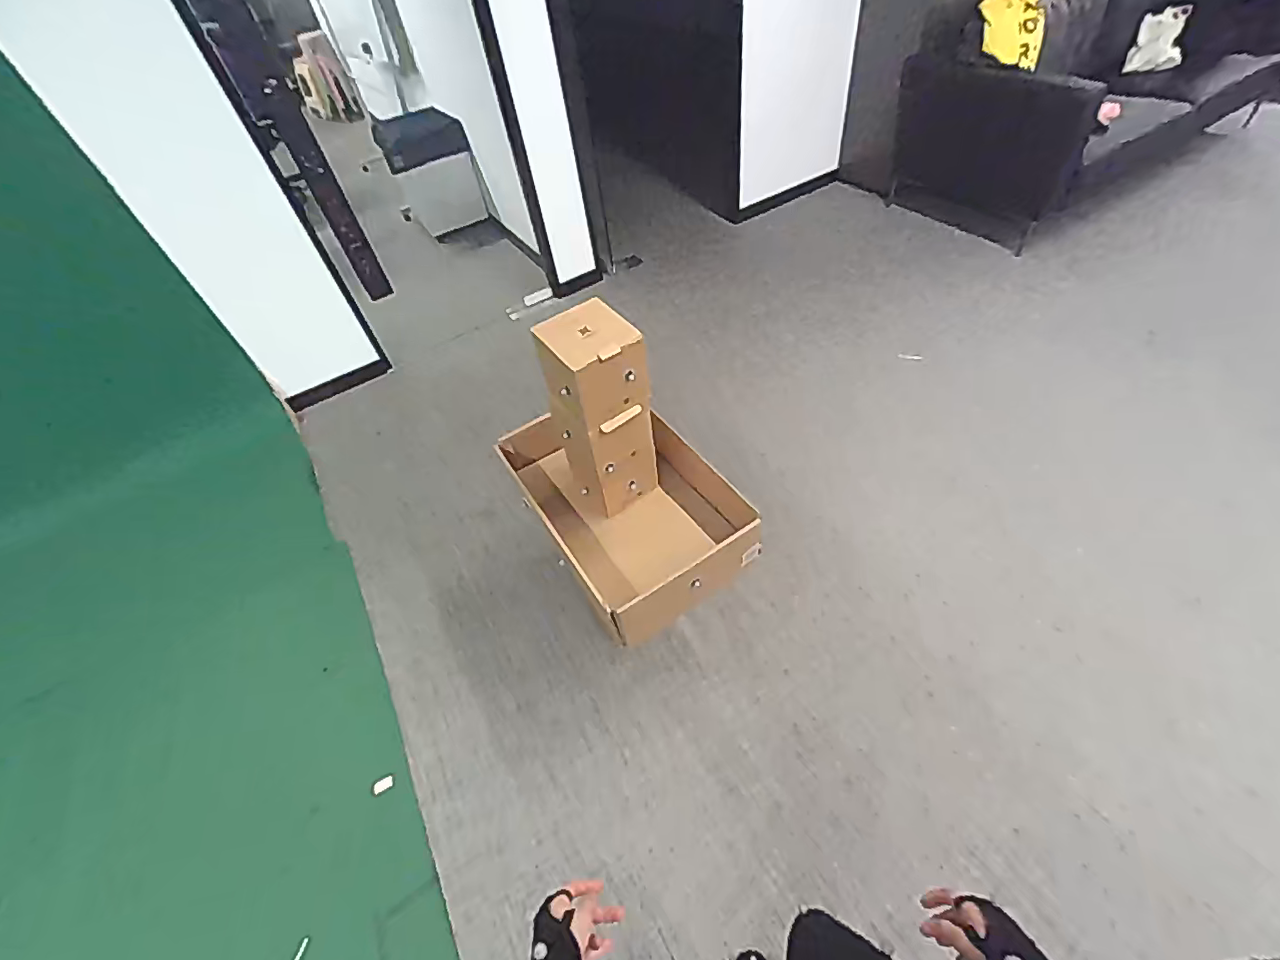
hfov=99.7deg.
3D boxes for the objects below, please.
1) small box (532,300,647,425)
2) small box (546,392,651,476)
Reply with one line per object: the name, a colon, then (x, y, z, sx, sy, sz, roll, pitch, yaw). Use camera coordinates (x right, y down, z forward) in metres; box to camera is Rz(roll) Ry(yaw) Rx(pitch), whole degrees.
small box: (-0.097, -0.238, 1.130, 0.168, 0.176, 0.179, -31, 55, -18)
small box: (-0.089, -0.134, 1.255, 0.168, 0.176, 0.179, -34, 55, -19)
